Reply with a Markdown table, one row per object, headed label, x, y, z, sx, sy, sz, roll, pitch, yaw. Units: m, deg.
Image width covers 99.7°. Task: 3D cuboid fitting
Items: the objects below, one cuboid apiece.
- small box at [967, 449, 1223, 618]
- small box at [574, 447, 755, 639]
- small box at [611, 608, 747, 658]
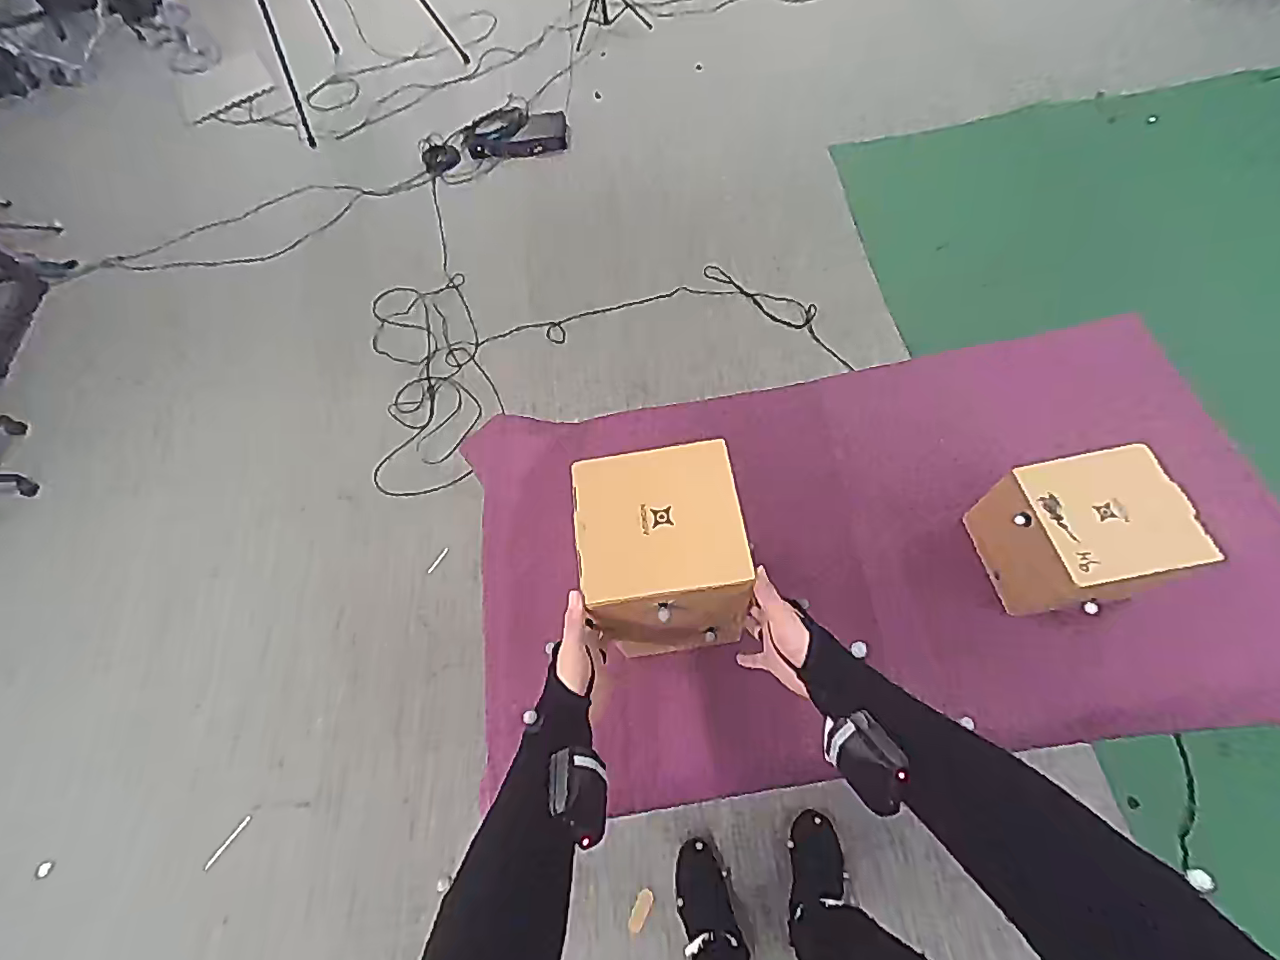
| label | x | y | z | sx | sy | sz | roll | pitch | yaw |
| --- | --- | --- | --- | --- | --- | --- | --- | --- | --- |
| small box | 0.597 | 0.080 | 0.742 | 0.179 | 0.176 | 0.168 | -11 | 62 | 3 |
| small box | 0.030 | 0.083 | 0.642 | 0.179 | 0.176 | 0.168 | -10 | 62 | 5 |
| small box | 0.049 | 0.154 | 0.788 | 0.179 | 0.176 | 0.168 | -10 | 62 | 3 |
